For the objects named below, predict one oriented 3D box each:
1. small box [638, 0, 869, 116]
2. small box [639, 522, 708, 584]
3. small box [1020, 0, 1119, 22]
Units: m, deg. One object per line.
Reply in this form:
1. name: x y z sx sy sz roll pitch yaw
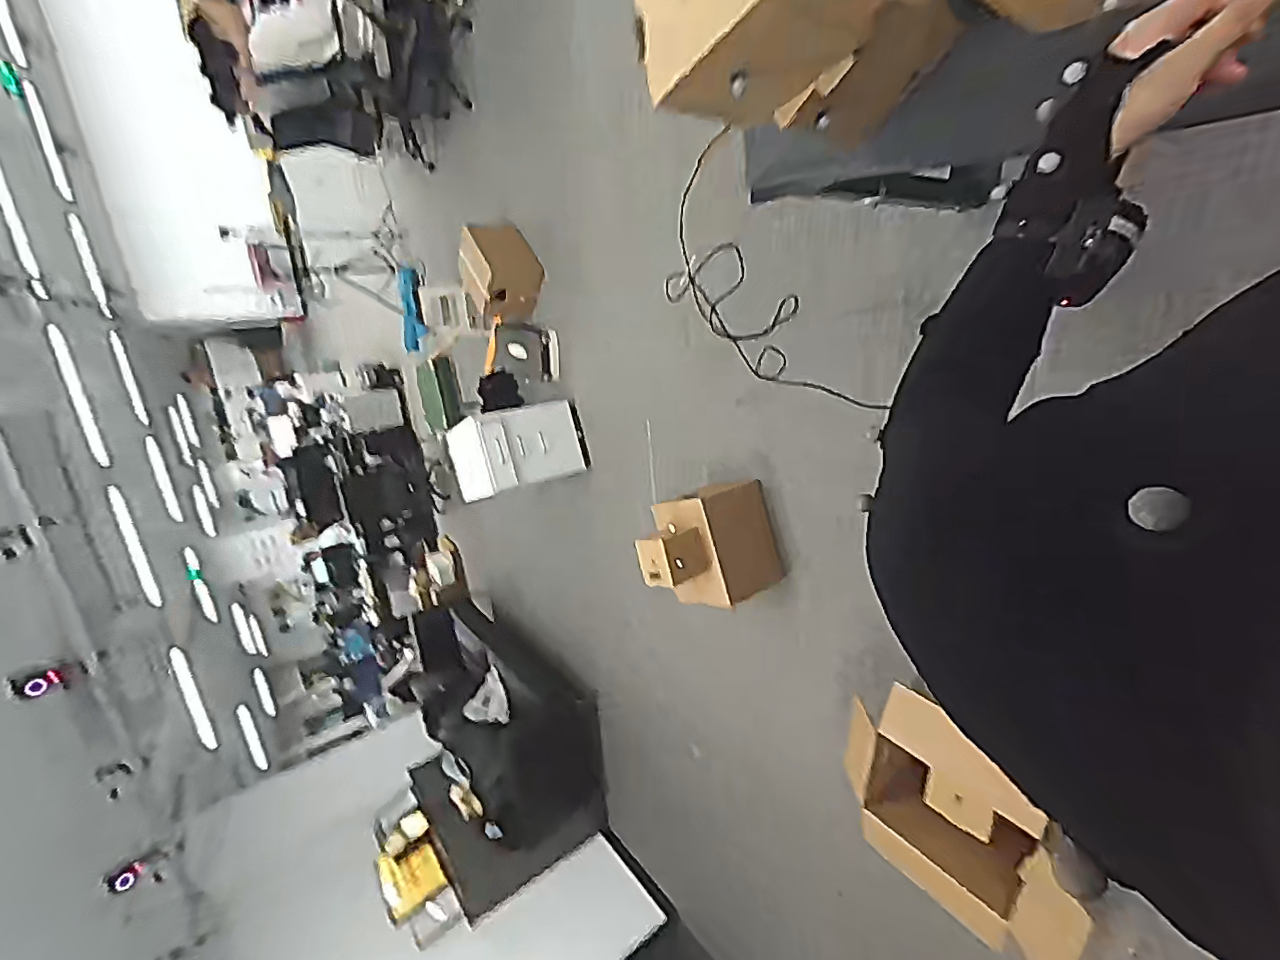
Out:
1. small box: 0.117 -0.536 0.591 0.179 0.176 0.168 -3 100 56
2. small box: 0.125 0.262 1.963 0.168 0.176 0.179 -11 94 54
3. small box: 0.416 -0.538 0.455 0.168 0.176 0.179 24 122 50
